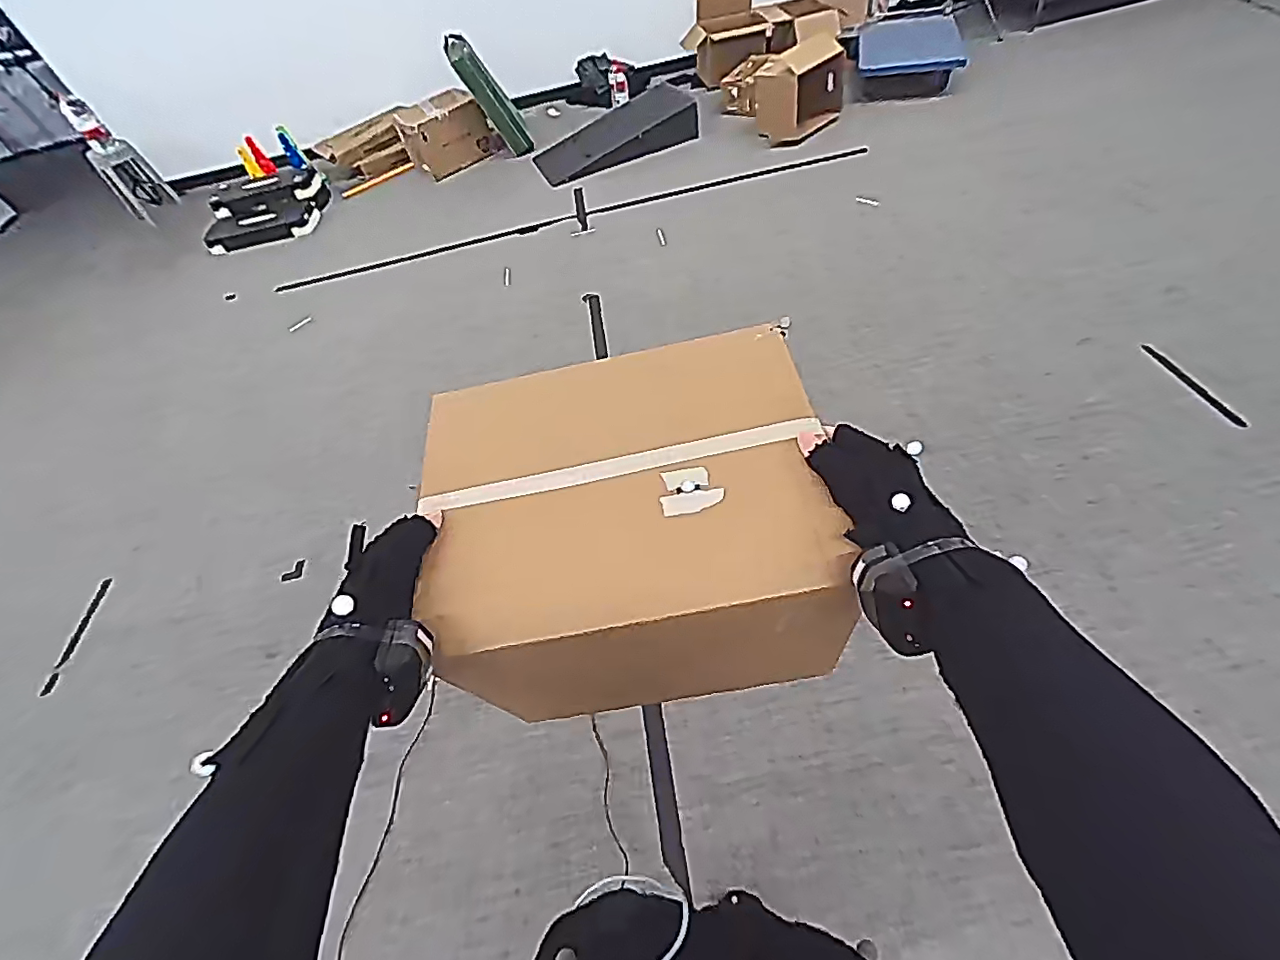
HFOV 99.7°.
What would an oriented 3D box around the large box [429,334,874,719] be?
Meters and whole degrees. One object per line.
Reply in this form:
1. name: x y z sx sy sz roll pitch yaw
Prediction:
1. large box: 0.008 0.075 0.671 0.408 0.320 0.320 -11 56 3
